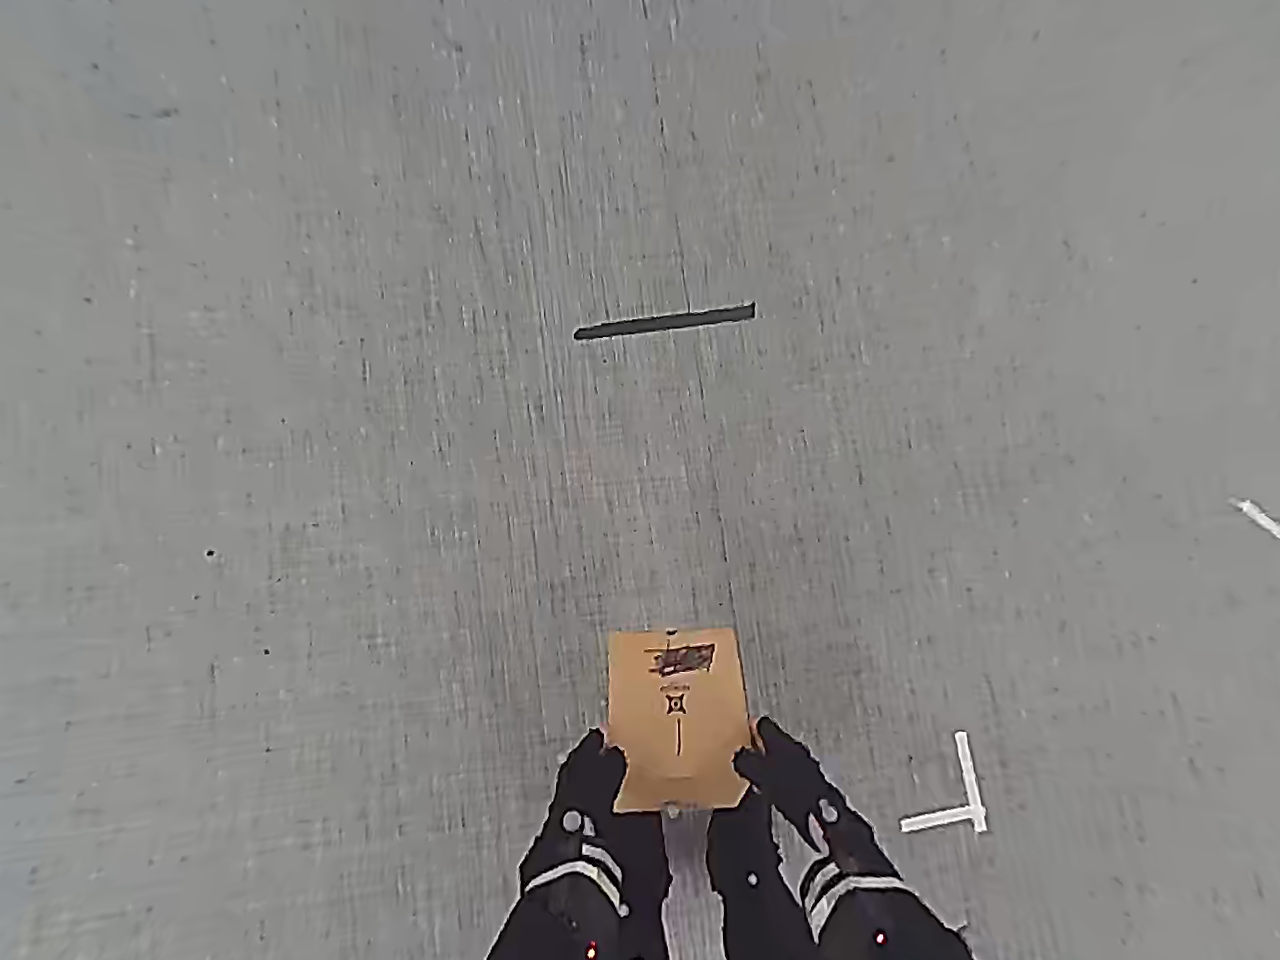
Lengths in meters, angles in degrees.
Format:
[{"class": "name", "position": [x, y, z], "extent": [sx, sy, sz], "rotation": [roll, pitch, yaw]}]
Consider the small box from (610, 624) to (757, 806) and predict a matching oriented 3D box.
[{"class": "small box", "position": [0.045, 0.308, 0.710], "extent": [0.168, 0.176, 0.179], "rotation": [-1, 48, -1]}]
